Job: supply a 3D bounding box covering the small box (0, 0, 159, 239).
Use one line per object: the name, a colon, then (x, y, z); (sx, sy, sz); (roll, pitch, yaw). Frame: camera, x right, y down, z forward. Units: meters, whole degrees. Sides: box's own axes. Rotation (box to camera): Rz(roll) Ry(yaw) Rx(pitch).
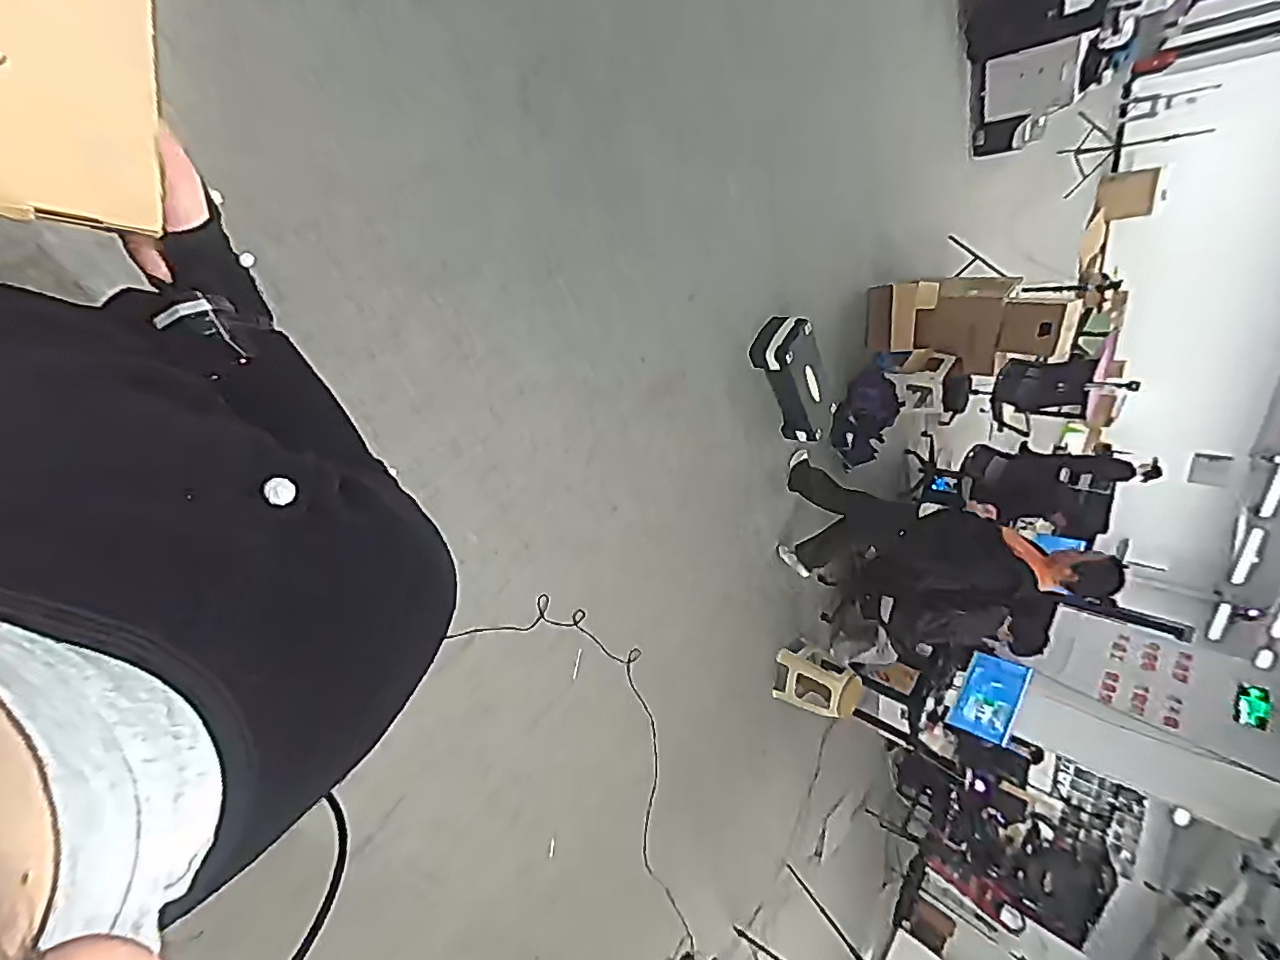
small box: (-0.417, -0.259, 0.324); (0.168, 0.176, 0.179); (-10, 115, -51)
